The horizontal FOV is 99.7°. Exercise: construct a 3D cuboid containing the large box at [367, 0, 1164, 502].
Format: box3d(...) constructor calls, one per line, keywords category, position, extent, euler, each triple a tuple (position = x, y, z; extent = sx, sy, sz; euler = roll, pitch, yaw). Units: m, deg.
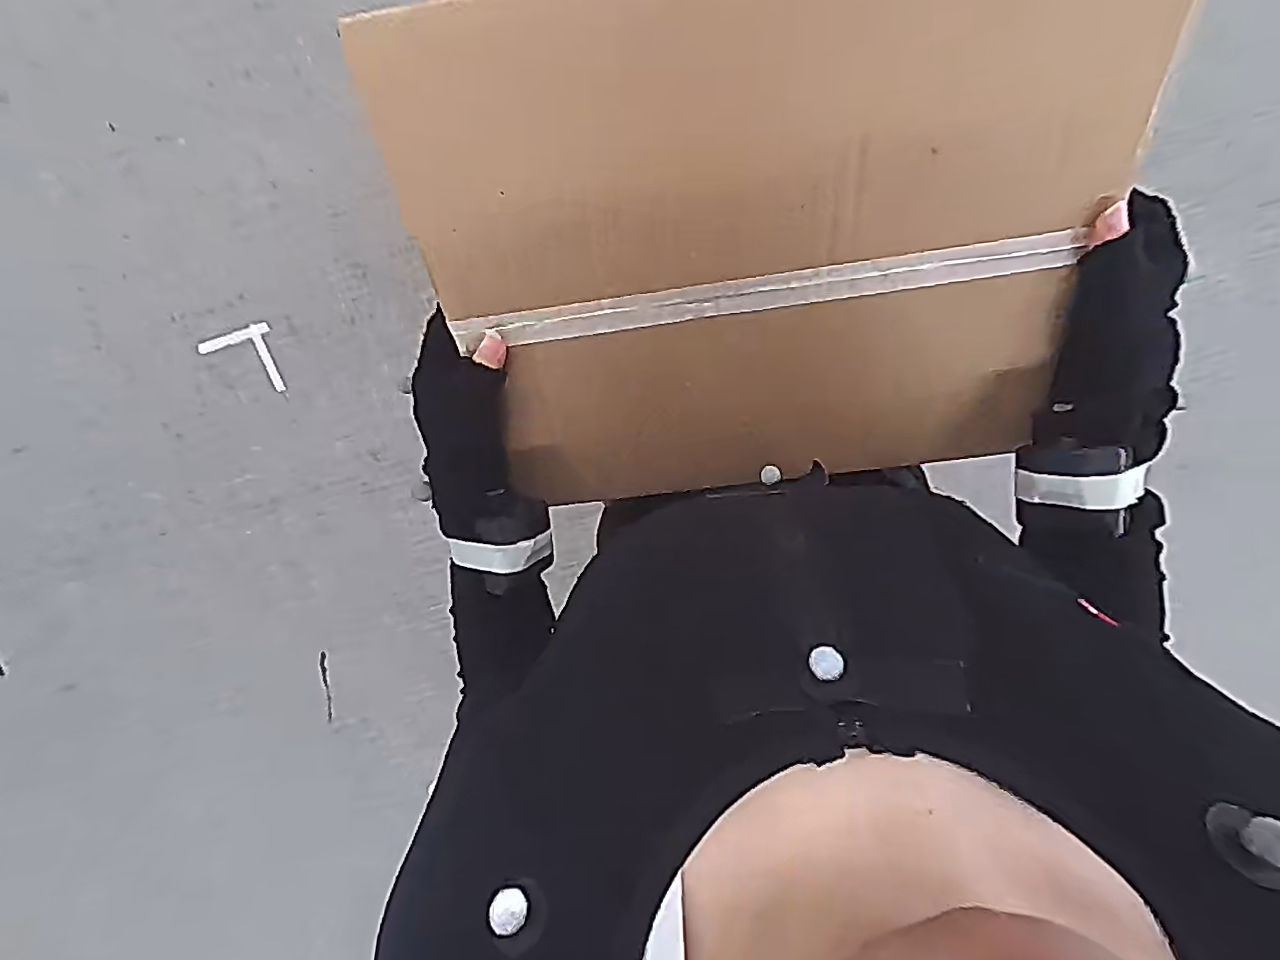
box3d(category="large box", position=(0.074, -0.217, 0.467), extent=(0.408, 0.320, 0.320), euler=(-7, 129, 5))
